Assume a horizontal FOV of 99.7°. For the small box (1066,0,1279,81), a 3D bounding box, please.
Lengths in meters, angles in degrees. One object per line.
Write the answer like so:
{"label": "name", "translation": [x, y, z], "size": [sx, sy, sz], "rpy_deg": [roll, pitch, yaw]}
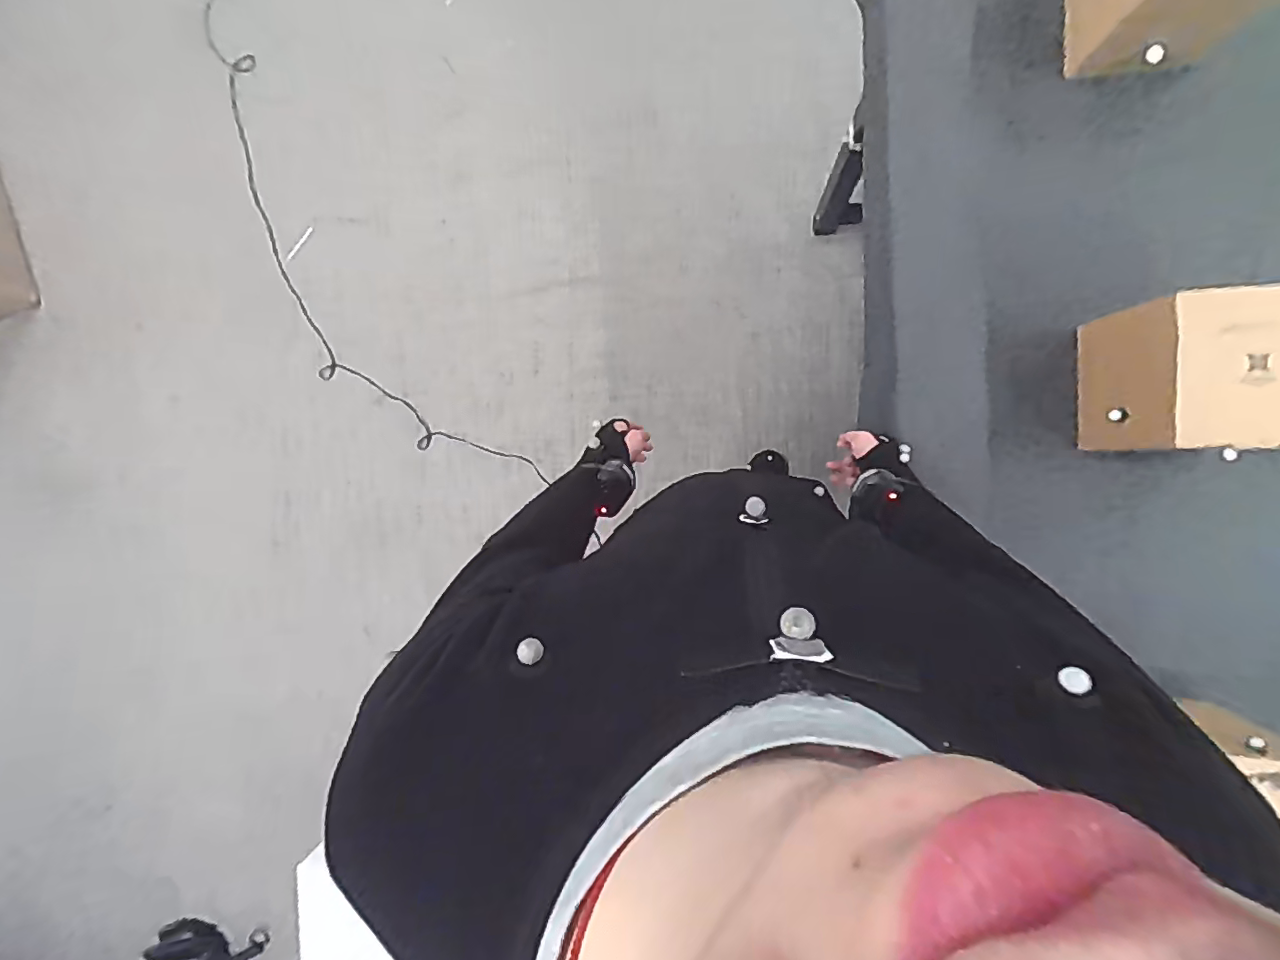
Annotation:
{"label": "small box", "translation": [0.653, -0.628, 0.649], "size": [0.168, 0.176, 0.179], "rpy_deg": [-1, 95, 7]}

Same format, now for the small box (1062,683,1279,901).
{"label": "small box", "translation": [0.695, 0.393, 0.707], "size": [0.168, 0.176, 0.179], "rpy_deg": [3, 94, 7]}

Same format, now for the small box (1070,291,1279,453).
{"label": "small box", "translation": [0.683, -0.124, 0.680], "size": [0.168, 0.176, 0.179], "rpy_deg": [-2, 92, 6]}
